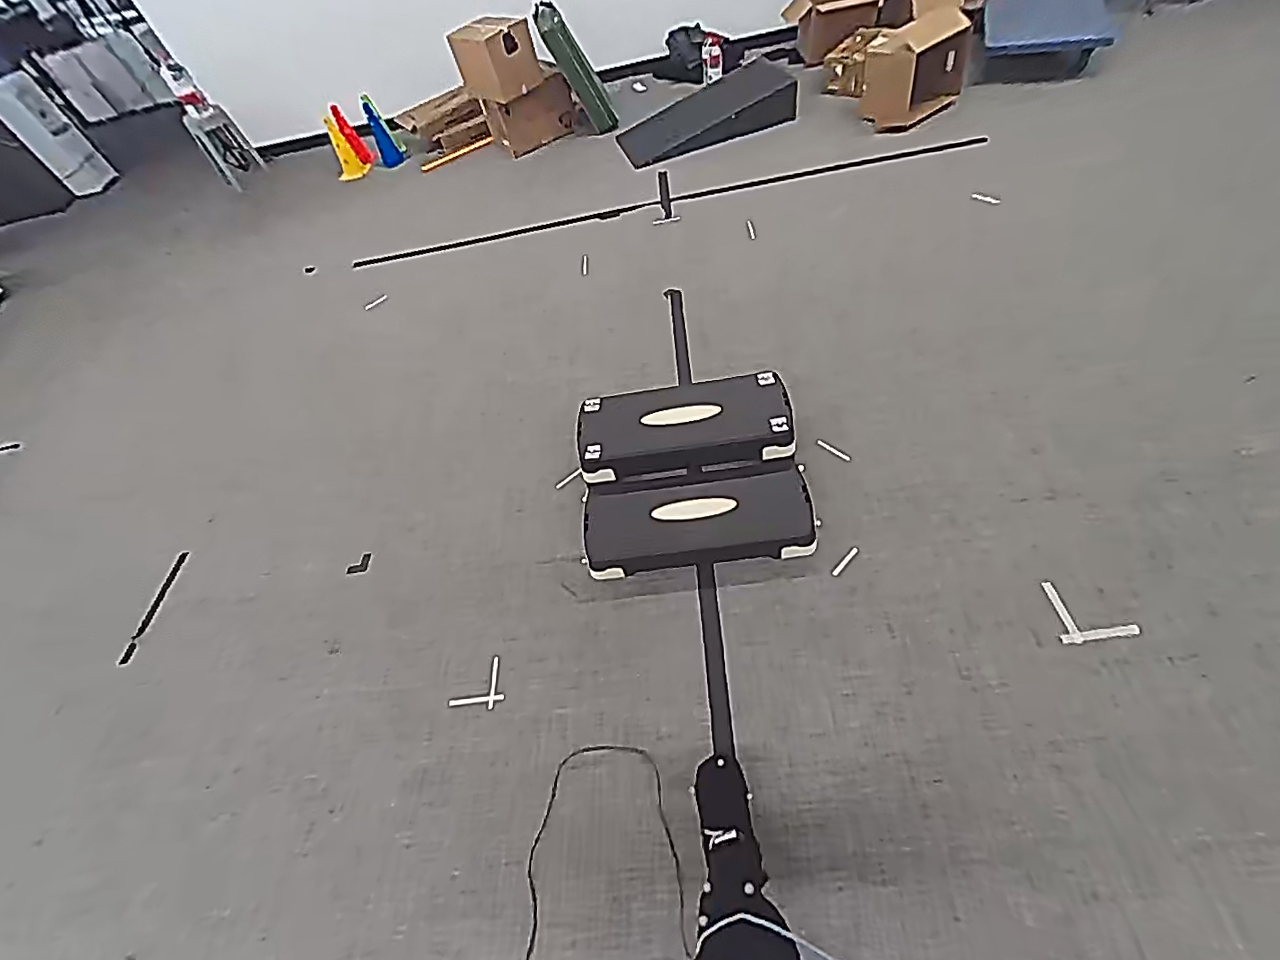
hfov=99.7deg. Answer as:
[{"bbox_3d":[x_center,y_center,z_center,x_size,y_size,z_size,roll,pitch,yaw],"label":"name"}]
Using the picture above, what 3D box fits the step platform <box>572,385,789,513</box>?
[{"bbox_3d":[0.123,-0.101,1.738,0.684,0.204,0.286,-8,53,5],"label":"step platform"}]
